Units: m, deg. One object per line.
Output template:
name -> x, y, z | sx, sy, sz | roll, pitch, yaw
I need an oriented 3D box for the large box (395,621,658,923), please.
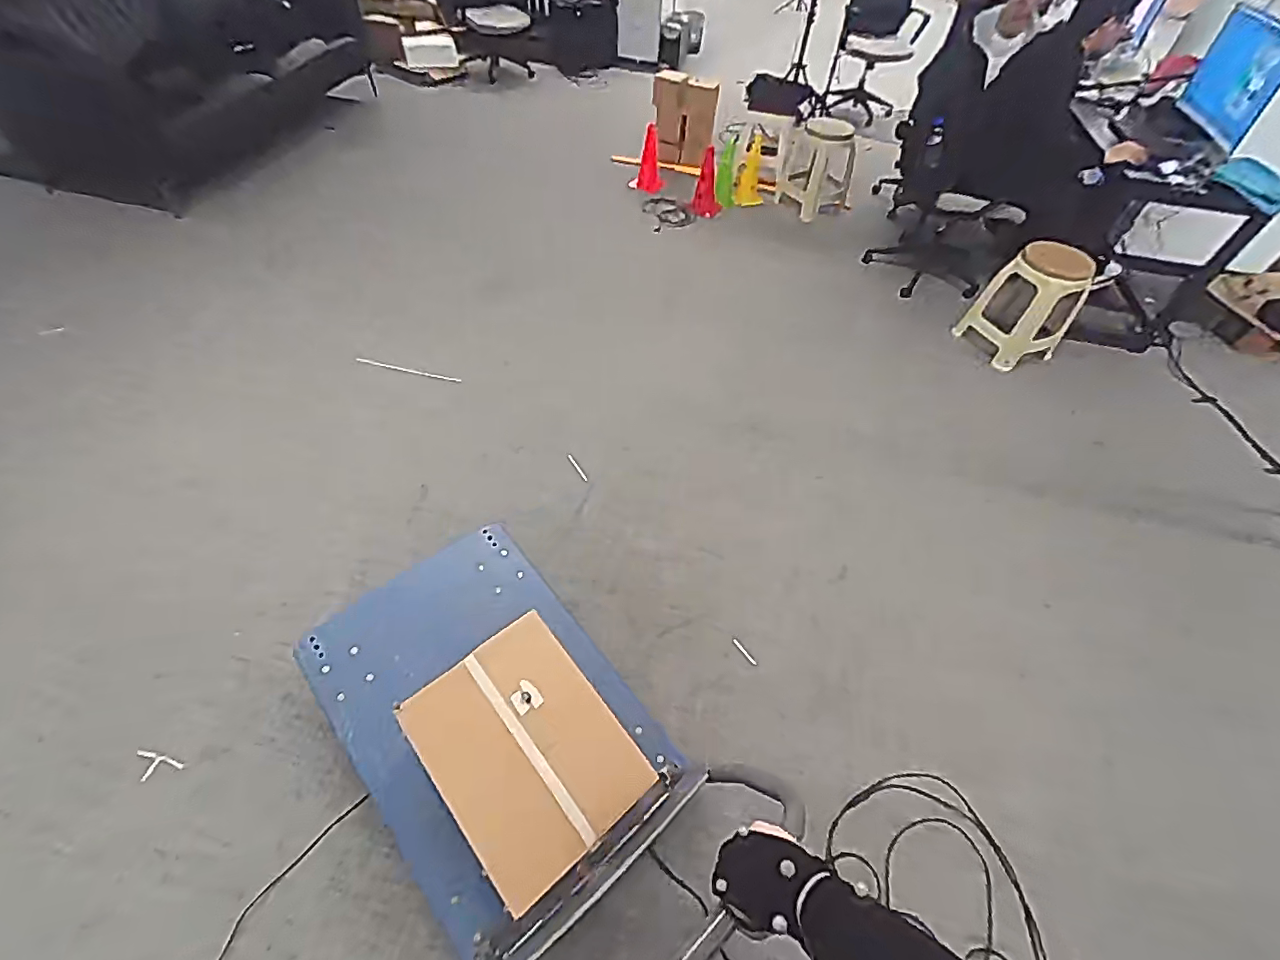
large box -> -0.221, 0.576, 1.108 | 0.320, 0.320, 0.408 | -34, 68, -26
